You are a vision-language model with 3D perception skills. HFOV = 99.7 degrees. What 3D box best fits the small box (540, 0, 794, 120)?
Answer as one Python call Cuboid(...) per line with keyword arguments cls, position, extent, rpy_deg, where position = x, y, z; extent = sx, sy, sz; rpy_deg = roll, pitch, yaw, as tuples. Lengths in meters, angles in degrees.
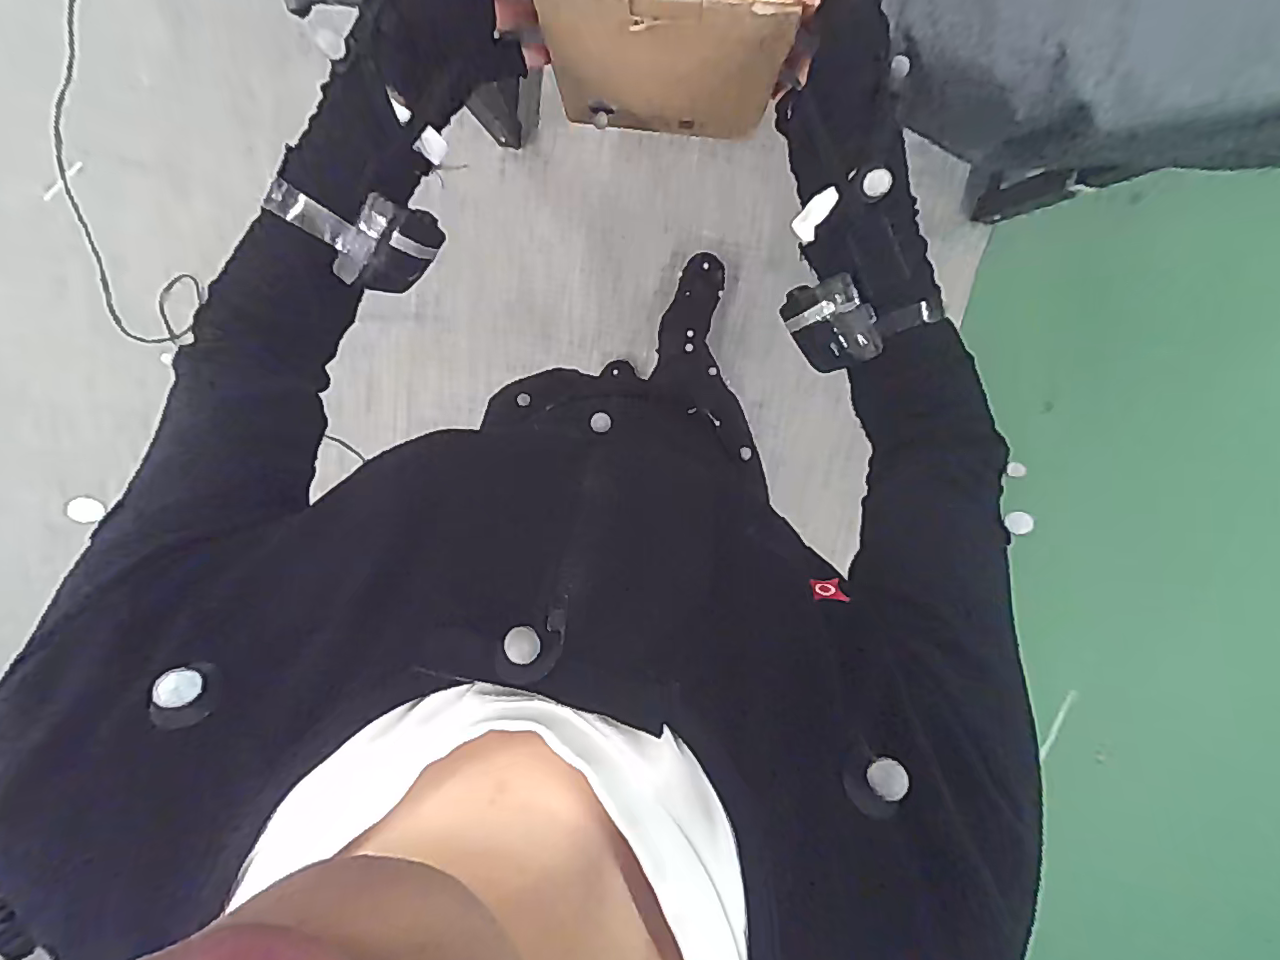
Cuboid(cls="small box", position=(0.026, -0.387, 0.378), extent=(0.168, 0.176, 0.179), rpy_deg=(6, 99, -1))
